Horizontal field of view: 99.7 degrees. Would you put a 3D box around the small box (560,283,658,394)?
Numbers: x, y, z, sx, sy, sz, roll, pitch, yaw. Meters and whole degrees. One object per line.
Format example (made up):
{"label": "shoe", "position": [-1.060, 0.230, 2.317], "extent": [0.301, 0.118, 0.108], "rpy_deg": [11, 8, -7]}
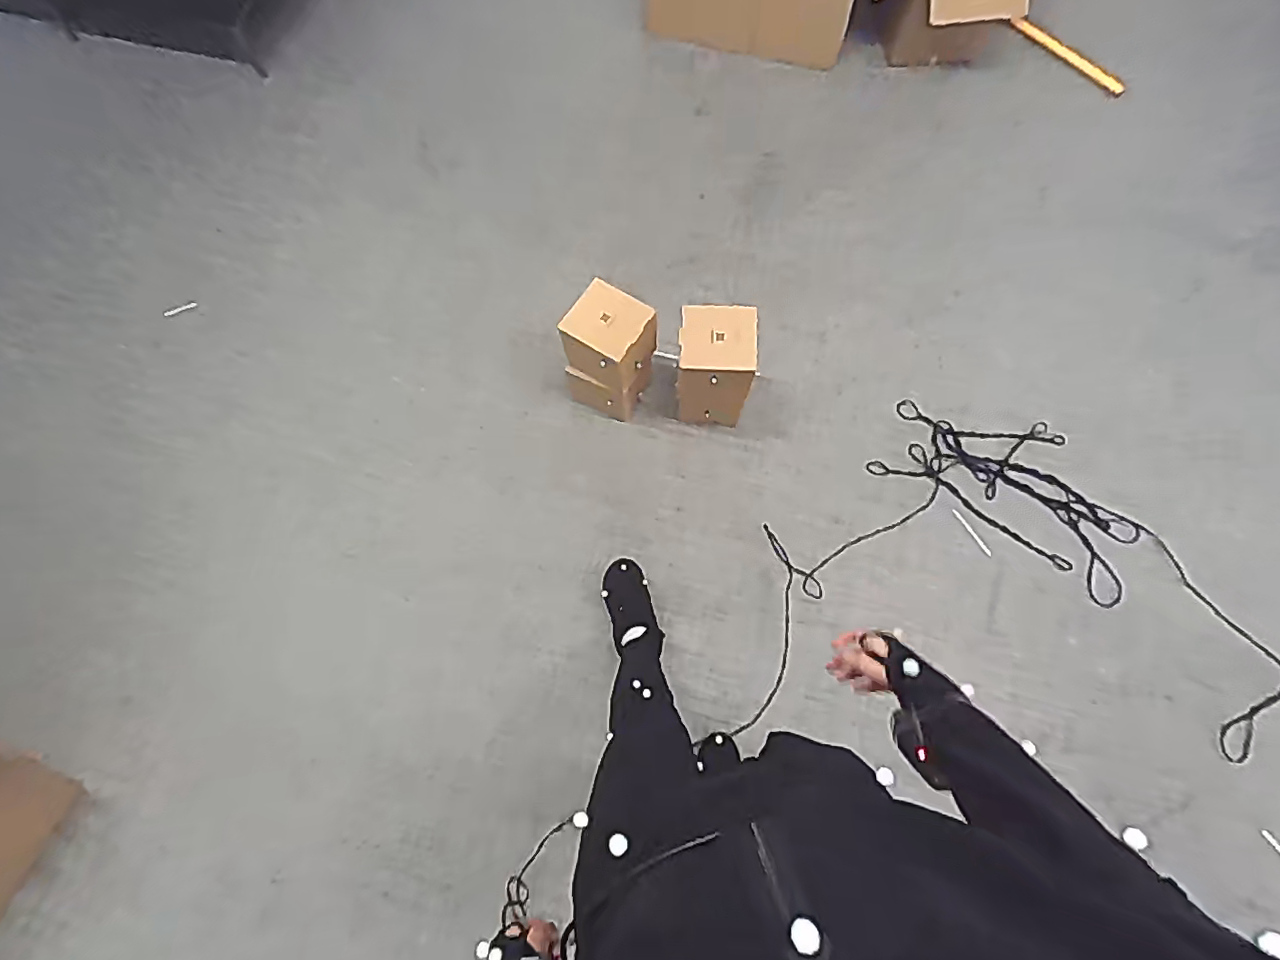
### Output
{"label": "small box", "position": [-0.072, -0.341, 1.337], "extent": [0.179, 0.176, 0.168], "rpy_deg": [31, 75, 11]}

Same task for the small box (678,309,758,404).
{"label": "small box", "position": [0.184, -0.292, 1.306], "extent": [0.179, 0.176, 0.168], "rpy_deg": [3, 73, 4]}

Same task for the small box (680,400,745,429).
{"label": "small box", "position": [0.201, -0.252, 1.464], "extent": [0.168, 0.176, 0.179], "rpy_deg": [7, 72, 5]}
